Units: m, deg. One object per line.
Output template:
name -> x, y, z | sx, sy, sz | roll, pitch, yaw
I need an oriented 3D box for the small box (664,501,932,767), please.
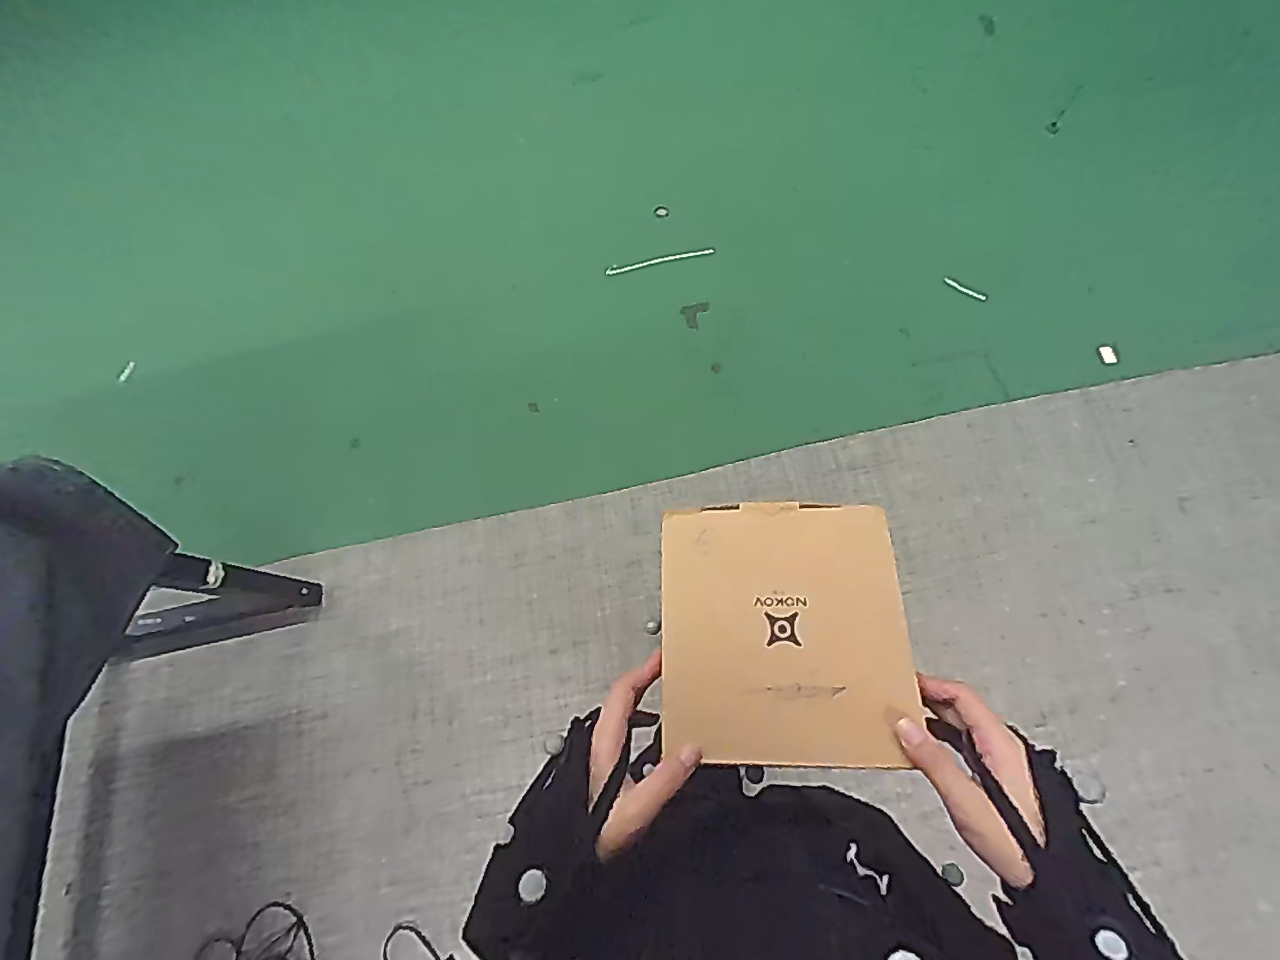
small box -> 0.105, 0.130, 0.441 | 0.168, 0.176, 0.179 | -1, 65, 5
